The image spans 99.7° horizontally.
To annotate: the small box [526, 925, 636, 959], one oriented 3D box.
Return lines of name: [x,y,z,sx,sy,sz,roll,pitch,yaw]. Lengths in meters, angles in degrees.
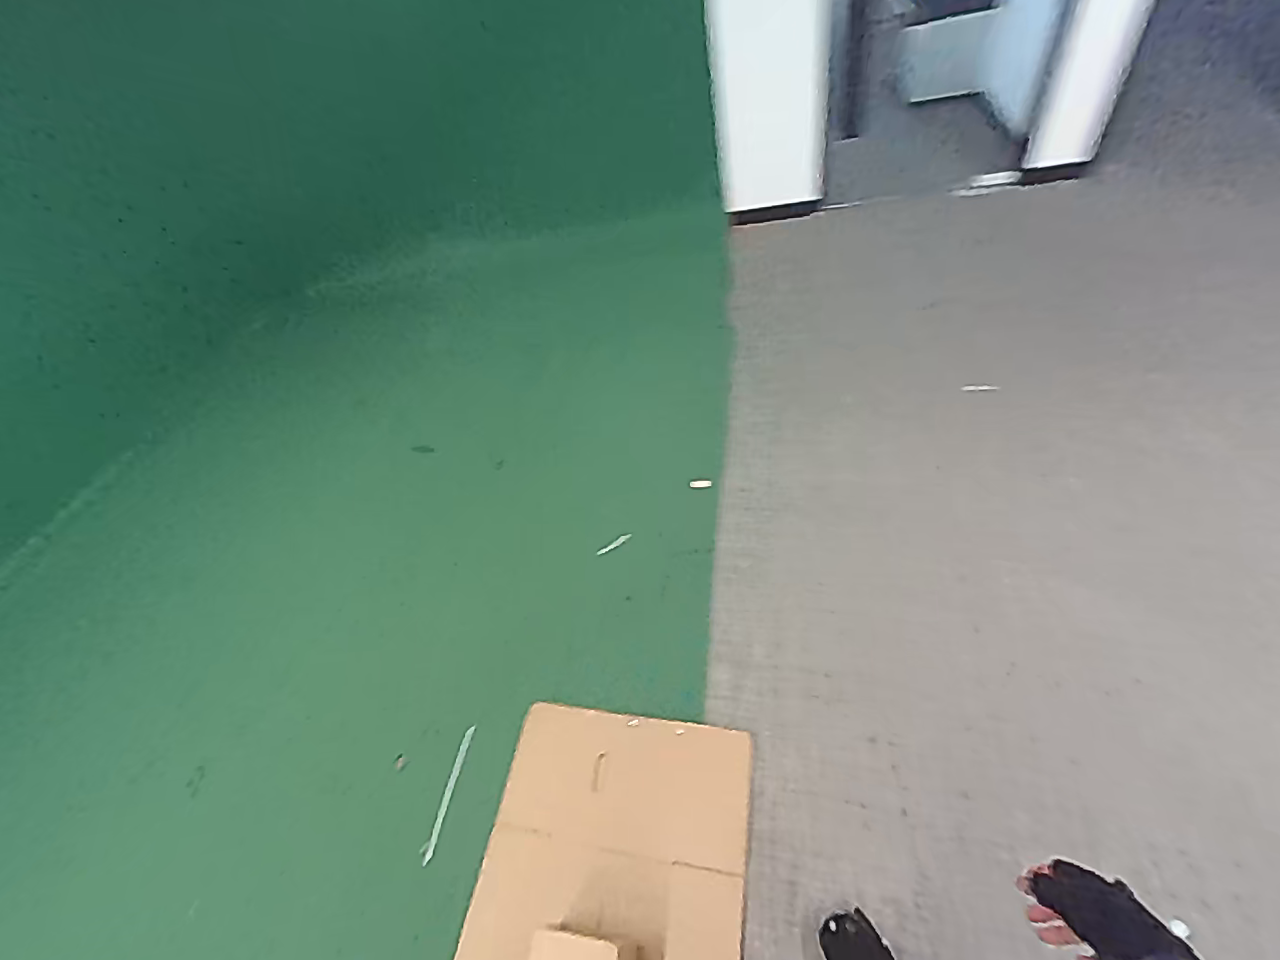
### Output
small box: [-0.120,0.979,1.039,0.179,0.176,0.168,0,53,15]
